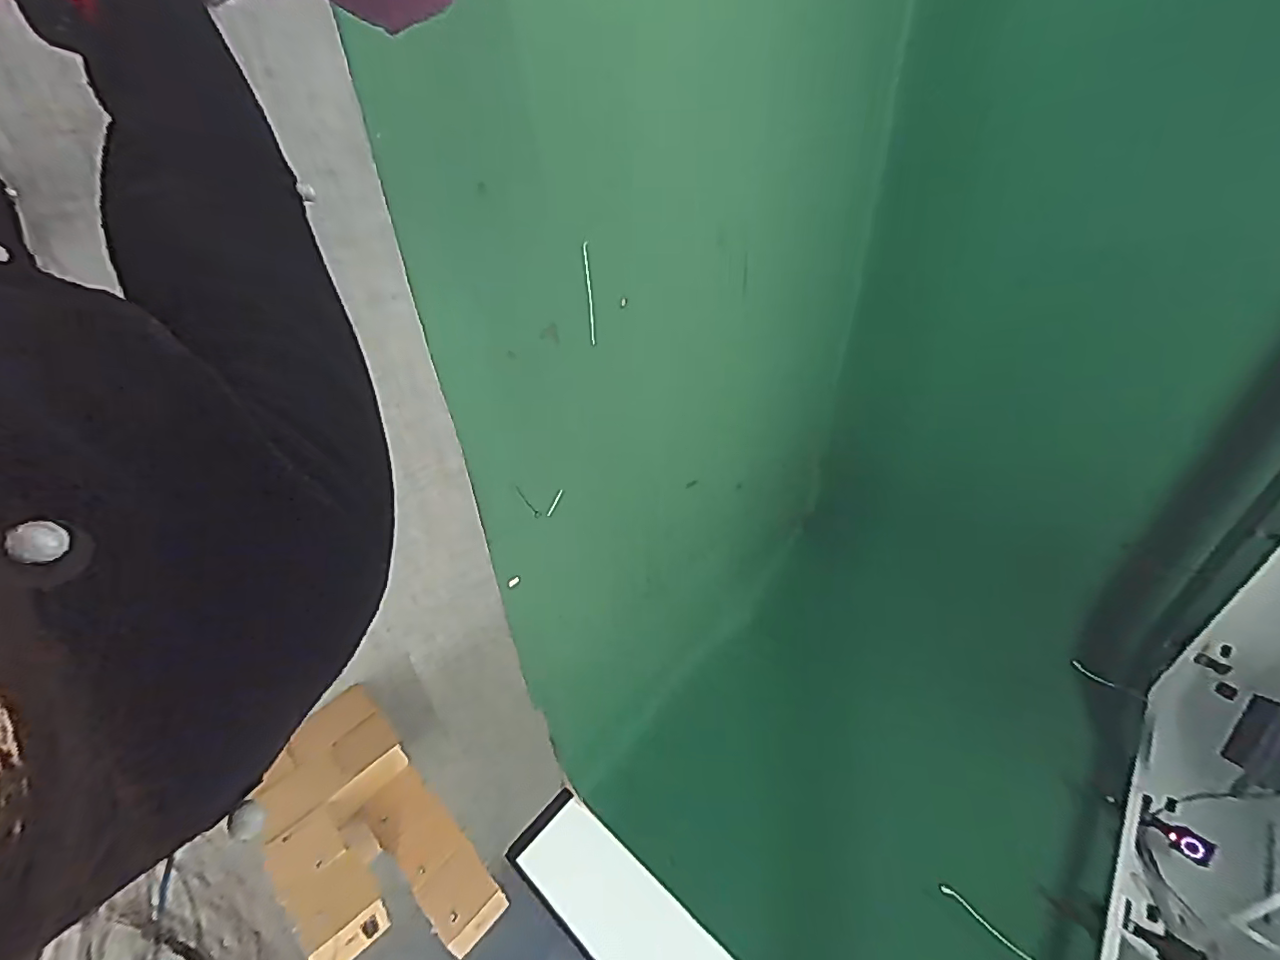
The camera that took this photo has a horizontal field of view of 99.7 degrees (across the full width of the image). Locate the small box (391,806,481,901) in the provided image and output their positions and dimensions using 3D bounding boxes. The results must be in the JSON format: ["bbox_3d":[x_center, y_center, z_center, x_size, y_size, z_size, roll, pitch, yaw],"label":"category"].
[{"bbox_3d":[-0.620,1.145,1.646,0.179,0.176,0.168,-35,140,-33],"label":"small box"}]

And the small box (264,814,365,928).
[{"bbox_3d":[-0.904,1.079,1.504,0.168,0.176,0.179,-32,137,-38],"label":"small box"}]

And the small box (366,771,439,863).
[{"bbox_3d":[-0.746,1.081,1.727,0.179,0.176,0.168,-38,141,-34],"label":"small box"}]

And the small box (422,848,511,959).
[{"bbox_3d":[-0.503,1.219,1.556,0.179,0.176,0.168,-35,141,-35],"label":"small box"}]
